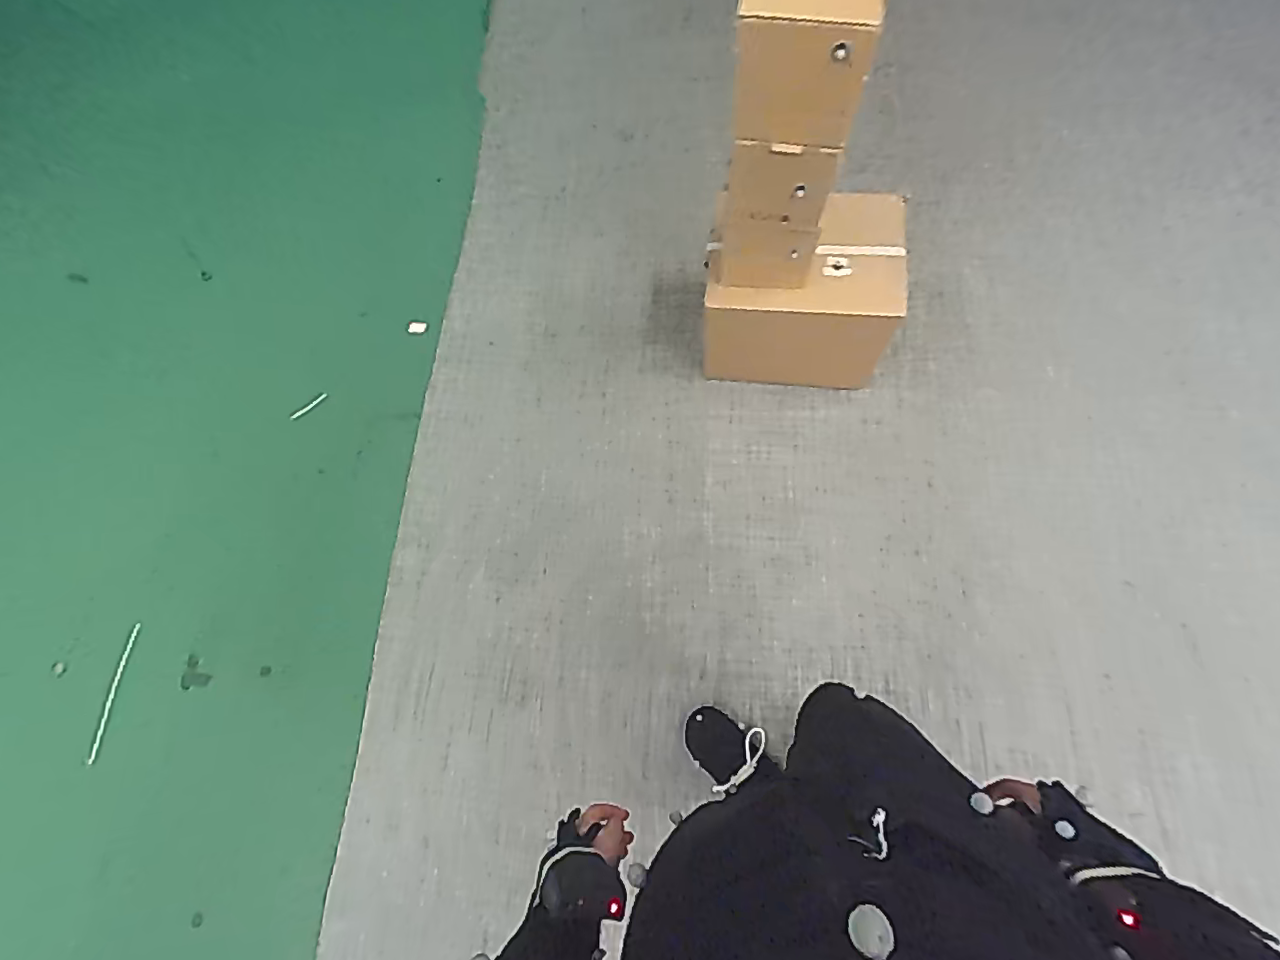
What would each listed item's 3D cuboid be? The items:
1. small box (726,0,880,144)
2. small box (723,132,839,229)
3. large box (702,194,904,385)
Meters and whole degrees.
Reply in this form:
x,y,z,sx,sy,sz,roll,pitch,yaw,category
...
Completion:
x,y,z,sx,sy,sz,roll,pitch,yaw,category
0.221,-0.605,0.755,0.179,0.176,0.168,10,72,7,small box
0.235,-0.553,0.909,0.168,0.176,0.179,9,72,6,small box
0.360,-0.440,1.288,0.408,0.320,0.320,5,73,7,large box
